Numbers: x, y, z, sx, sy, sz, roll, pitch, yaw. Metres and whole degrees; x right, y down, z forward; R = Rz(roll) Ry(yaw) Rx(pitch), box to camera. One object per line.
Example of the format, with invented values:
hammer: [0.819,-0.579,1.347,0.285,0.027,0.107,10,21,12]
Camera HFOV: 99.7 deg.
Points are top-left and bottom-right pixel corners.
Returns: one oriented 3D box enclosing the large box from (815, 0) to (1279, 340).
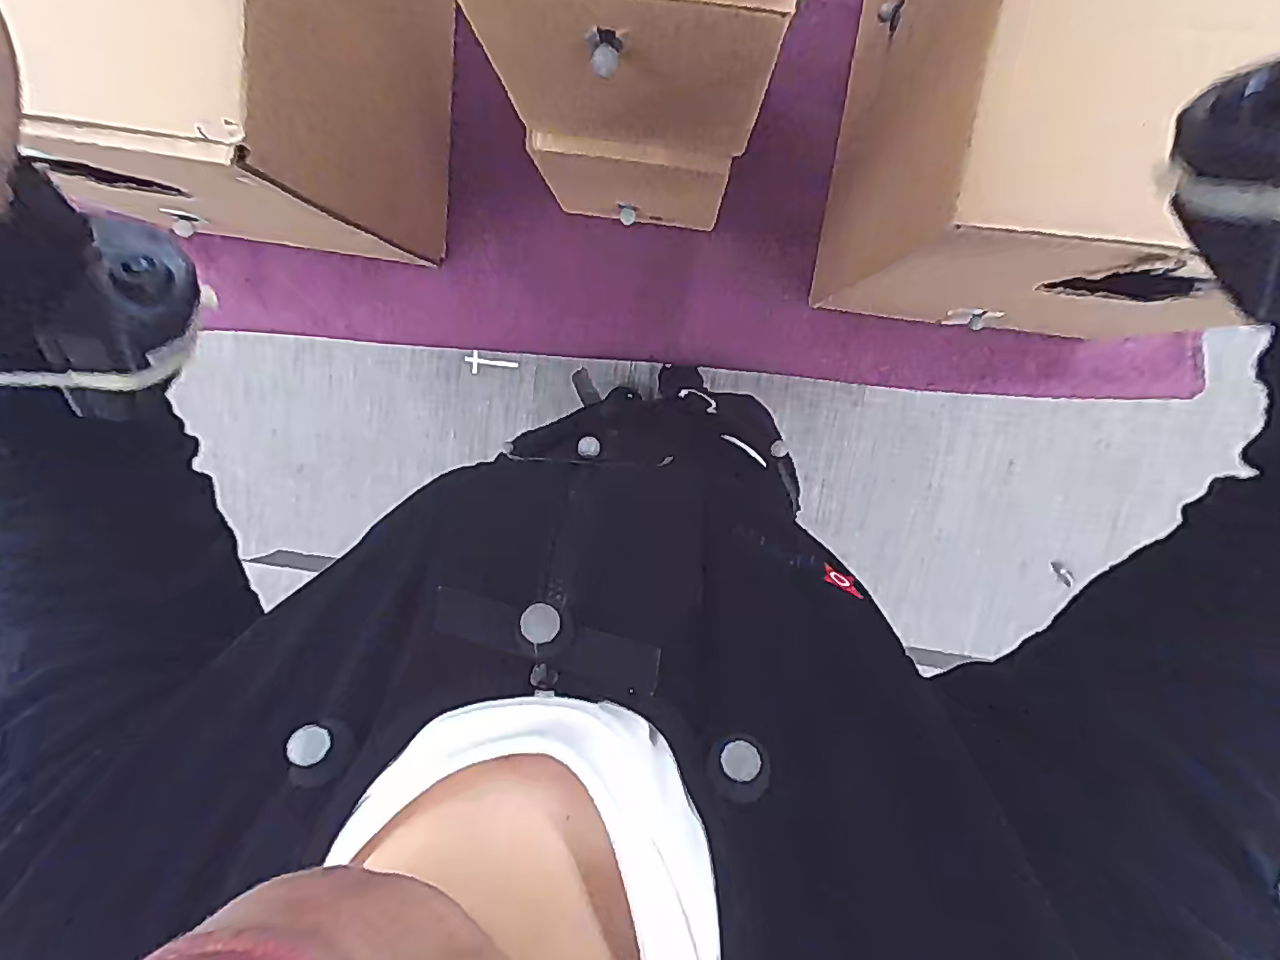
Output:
large box: [0.348,-0.335,0.408,0.320,0.320,0.408,7,99,1]
